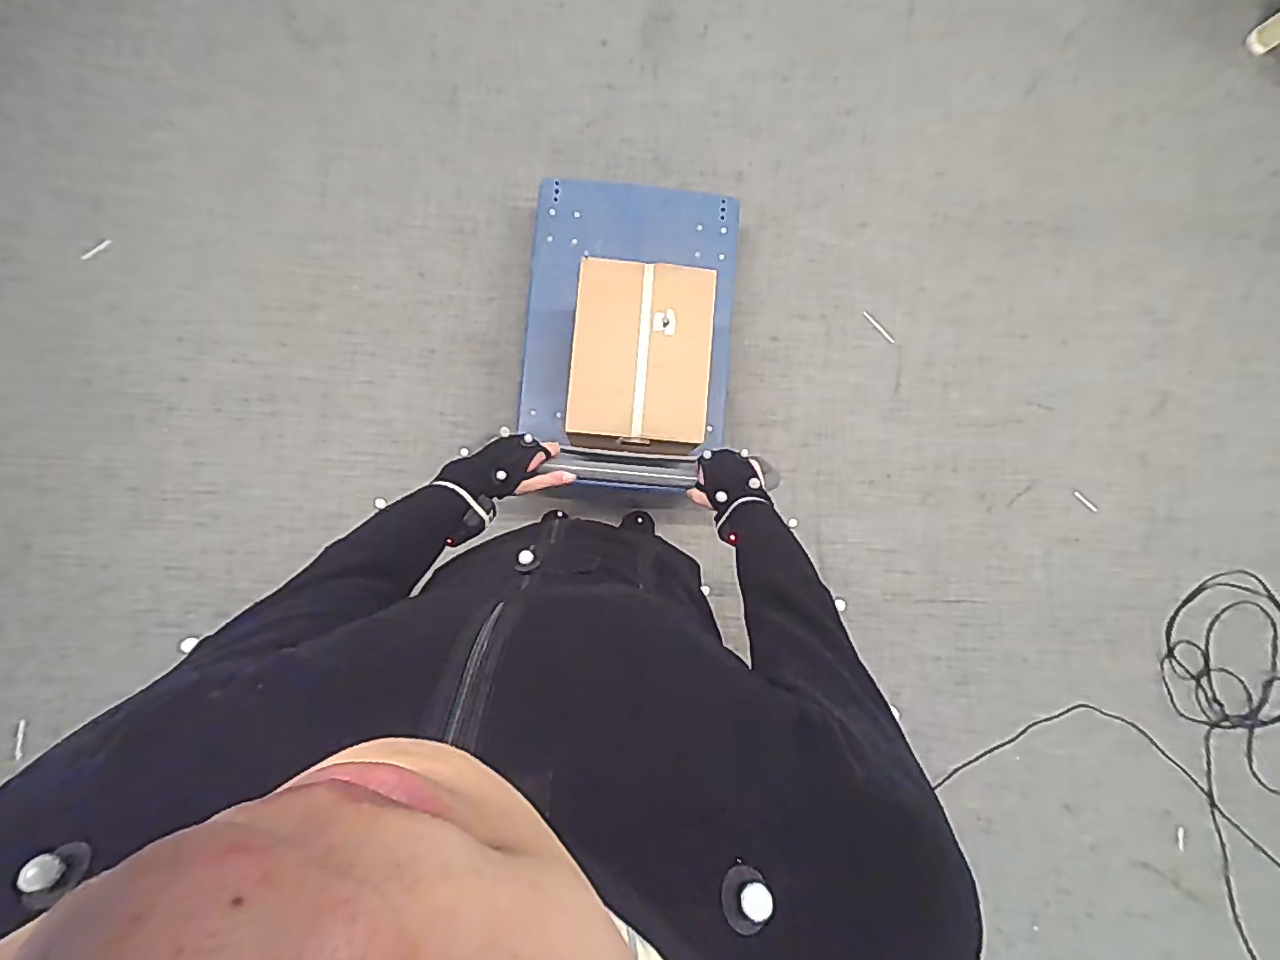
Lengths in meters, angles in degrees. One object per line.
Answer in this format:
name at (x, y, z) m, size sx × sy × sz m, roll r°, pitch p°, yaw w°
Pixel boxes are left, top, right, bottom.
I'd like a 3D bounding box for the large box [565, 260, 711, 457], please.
large box at (-0.009, -0.279, 1.363) m, size 0.320 × 0.320 × 0.408 m, roll 5°, pitch 85°, yaw -4°
